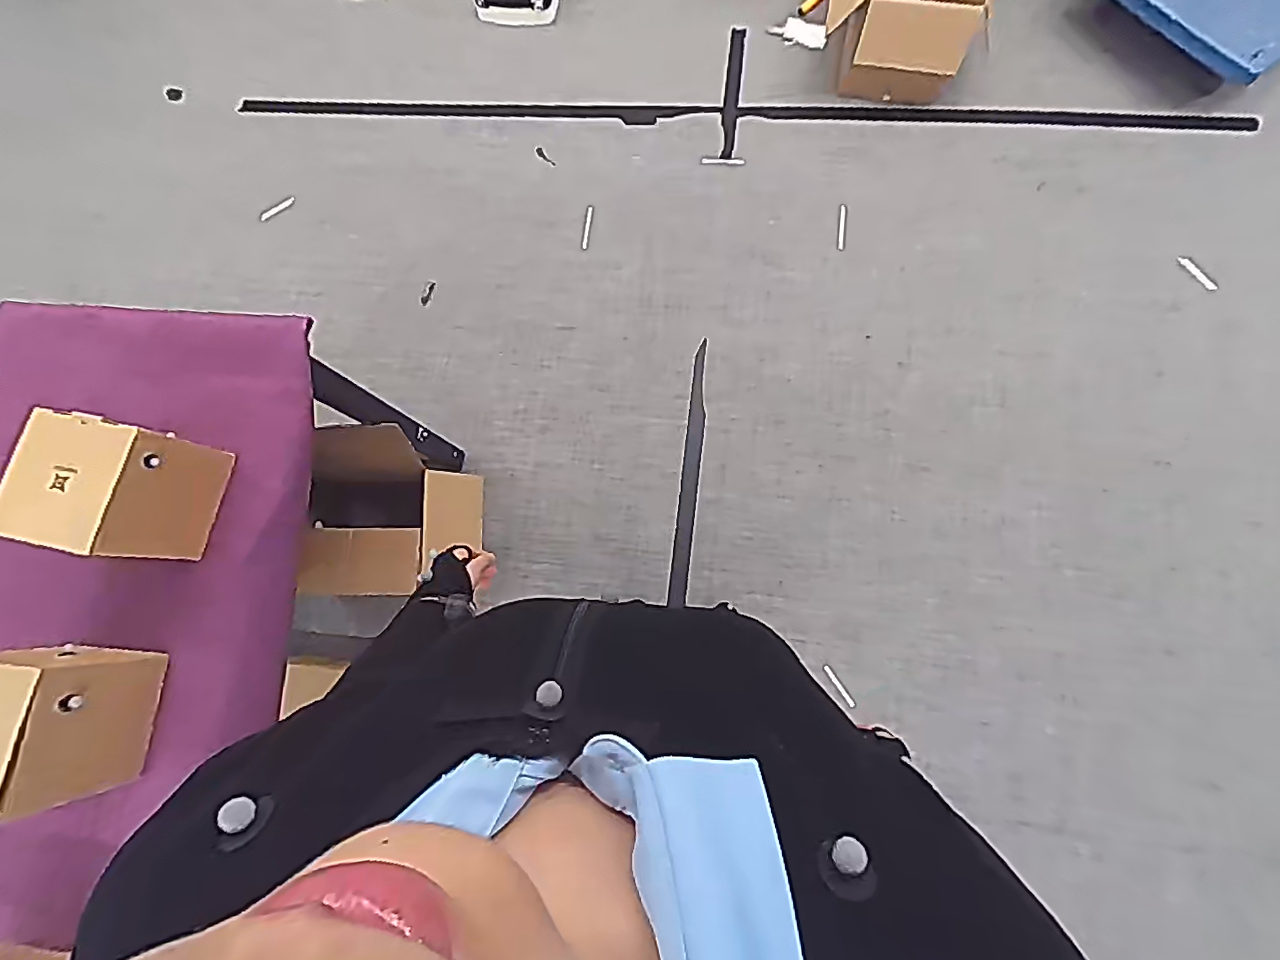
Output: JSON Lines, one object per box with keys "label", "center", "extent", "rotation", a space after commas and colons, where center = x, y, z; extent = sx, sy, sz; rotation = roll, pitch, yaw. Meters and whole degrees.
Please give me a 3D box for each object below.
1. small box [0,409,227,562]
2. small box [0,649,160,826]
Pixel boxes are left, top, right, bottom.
{"label": "small box", "center": [-0.754, 0.017, 0.783], "extent": [0.168, 0.176, 0.179], "rotation": [10, 79, 6]}
{"label": "small box", "center": [-0.800, 0.326, 0.720], "extent": [0.168, 0.176, 0.179], "rotation": [3, 78, 7]}
